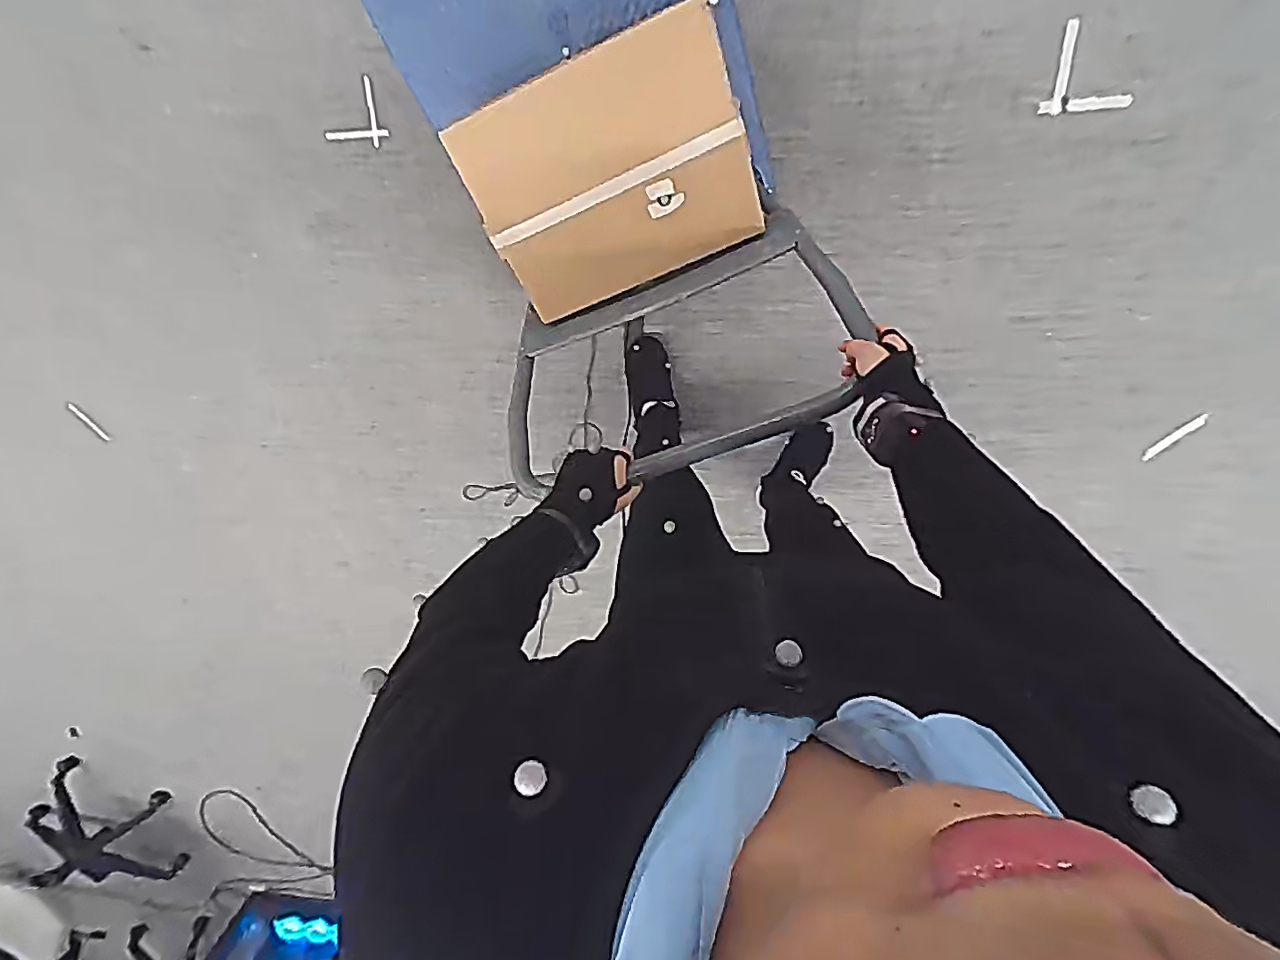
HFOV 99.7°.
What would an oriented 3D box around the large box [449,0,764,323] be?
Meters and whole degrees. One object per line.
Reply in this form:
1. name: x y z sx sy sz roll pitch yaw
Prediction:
1. large box: -0.048 -0.542 0.937 0.408 0.320 0.320 -20 129 12
